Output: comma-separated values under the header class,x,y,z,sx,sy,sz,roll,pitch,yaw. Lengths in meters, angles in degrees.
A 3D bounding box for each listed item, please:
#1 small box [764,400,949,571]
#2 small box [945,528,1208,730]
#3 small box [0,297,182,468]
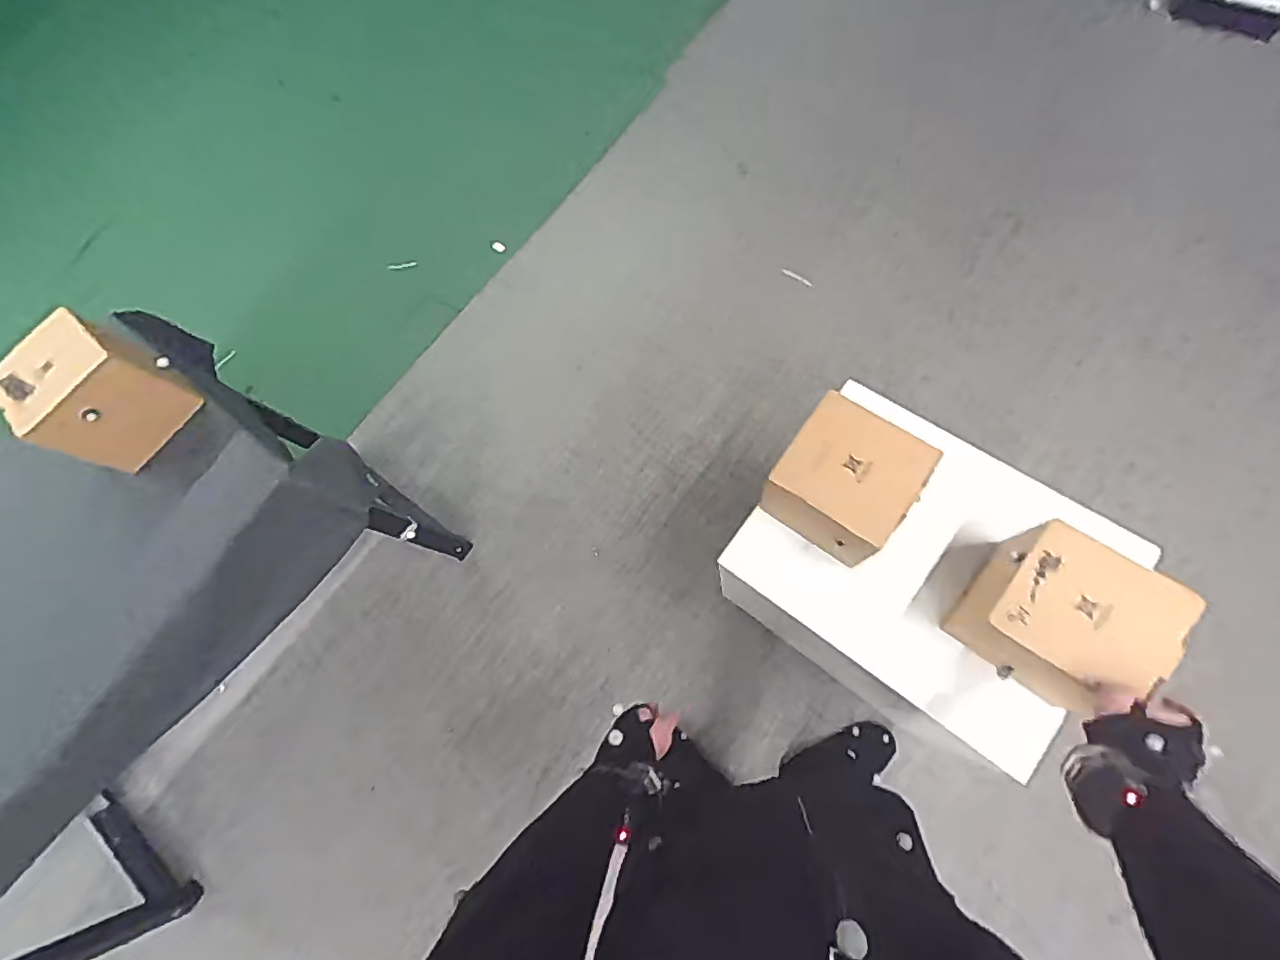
class,x,y,z,sx,sy,sz,roll,pitch,yaw
small box,0.305,0.019,0.801,0.179,0.176,0.168,33,76,17
small box,0.549,0.192,0.709,0.179,0.176,0.168,36,78,17
small box,-0.909,-0.147,0.869,0.168,0.176,0.179,37,78,17
